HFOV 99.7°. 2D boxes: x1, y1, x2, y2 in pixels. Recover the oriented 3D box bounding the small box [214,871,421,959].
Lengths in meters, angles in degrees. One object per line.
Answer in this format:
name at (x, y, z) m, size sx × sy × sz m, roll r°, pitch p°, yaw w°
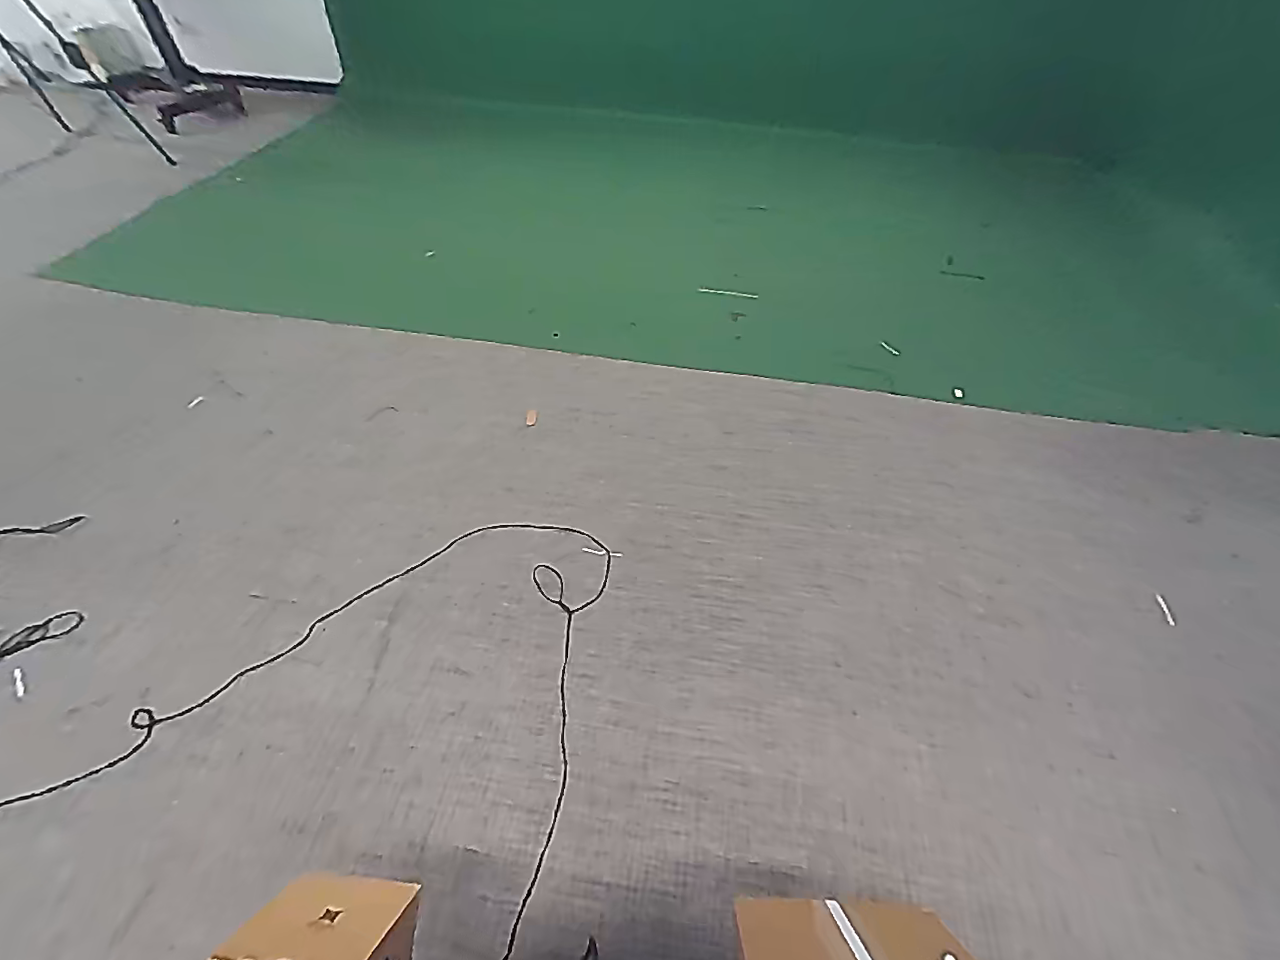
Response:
small box at (-0.394, 0.621, 0.653) m, size 0.168 × 0.179 × 0.176 m, roll 6°, pitch 82°, yaw 3°
